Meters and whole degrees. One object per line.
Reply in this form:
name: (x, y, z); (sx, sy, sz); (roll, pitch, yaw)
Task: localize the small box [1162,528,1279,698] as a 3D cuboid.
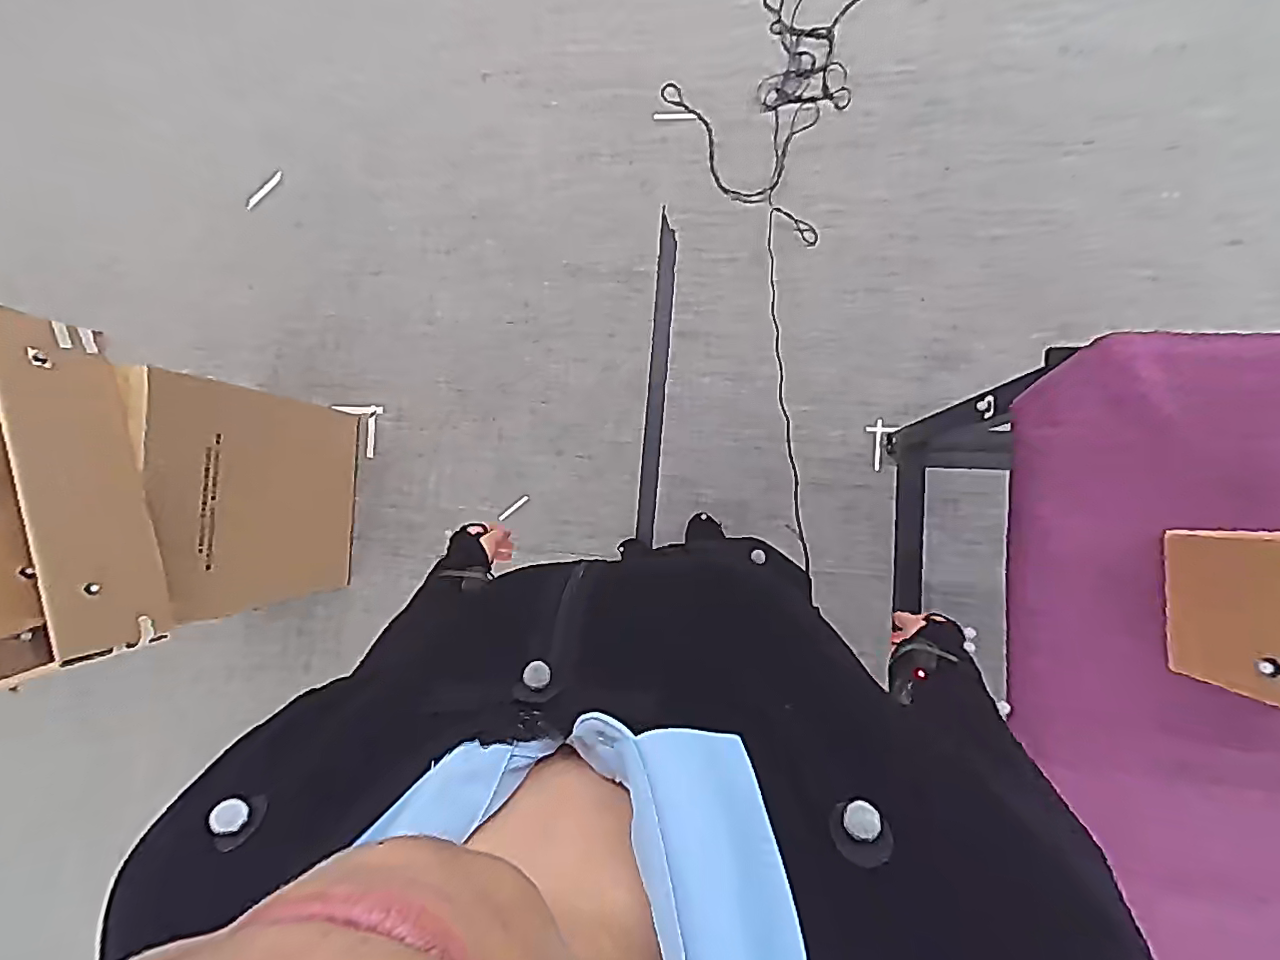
small box: (0.729, 0.143, 0.595); (0.168, 0.176, 0.179); (0, 88, 7)
